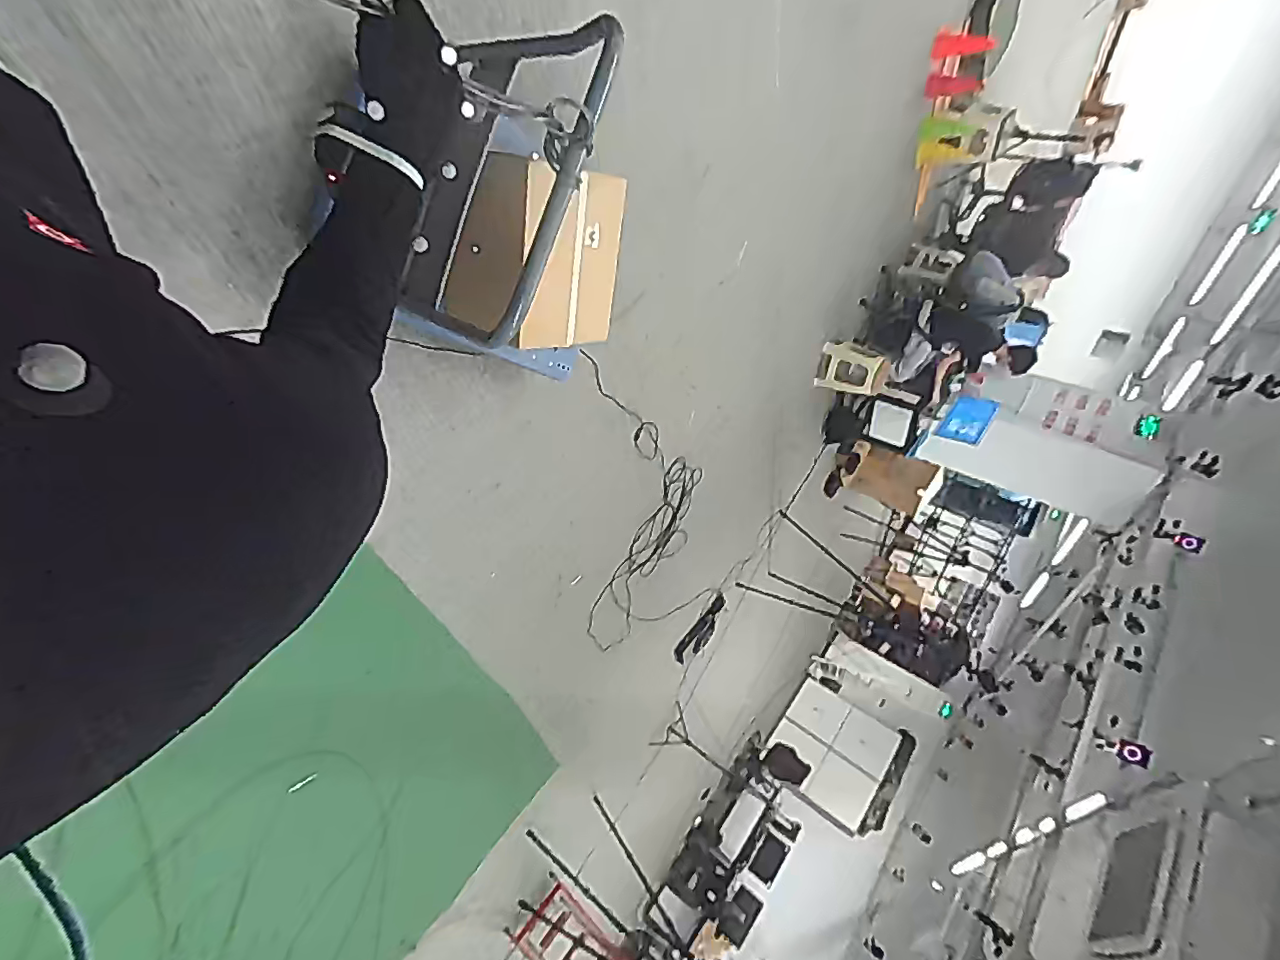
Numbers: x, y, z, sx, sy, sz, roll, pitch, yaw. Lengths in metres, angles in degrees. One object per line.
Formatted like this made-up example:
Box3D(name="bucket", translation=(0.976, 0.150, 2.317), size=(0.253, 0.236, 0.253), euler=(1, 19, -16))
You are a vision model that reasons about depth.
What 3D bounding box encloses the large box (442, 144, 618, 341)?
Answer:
Box3D(name="large box", translation=(-0.289, -0.603, 1.396), size=(0.320, 0.320, 0.408), euler=(-23, 130, -47))
